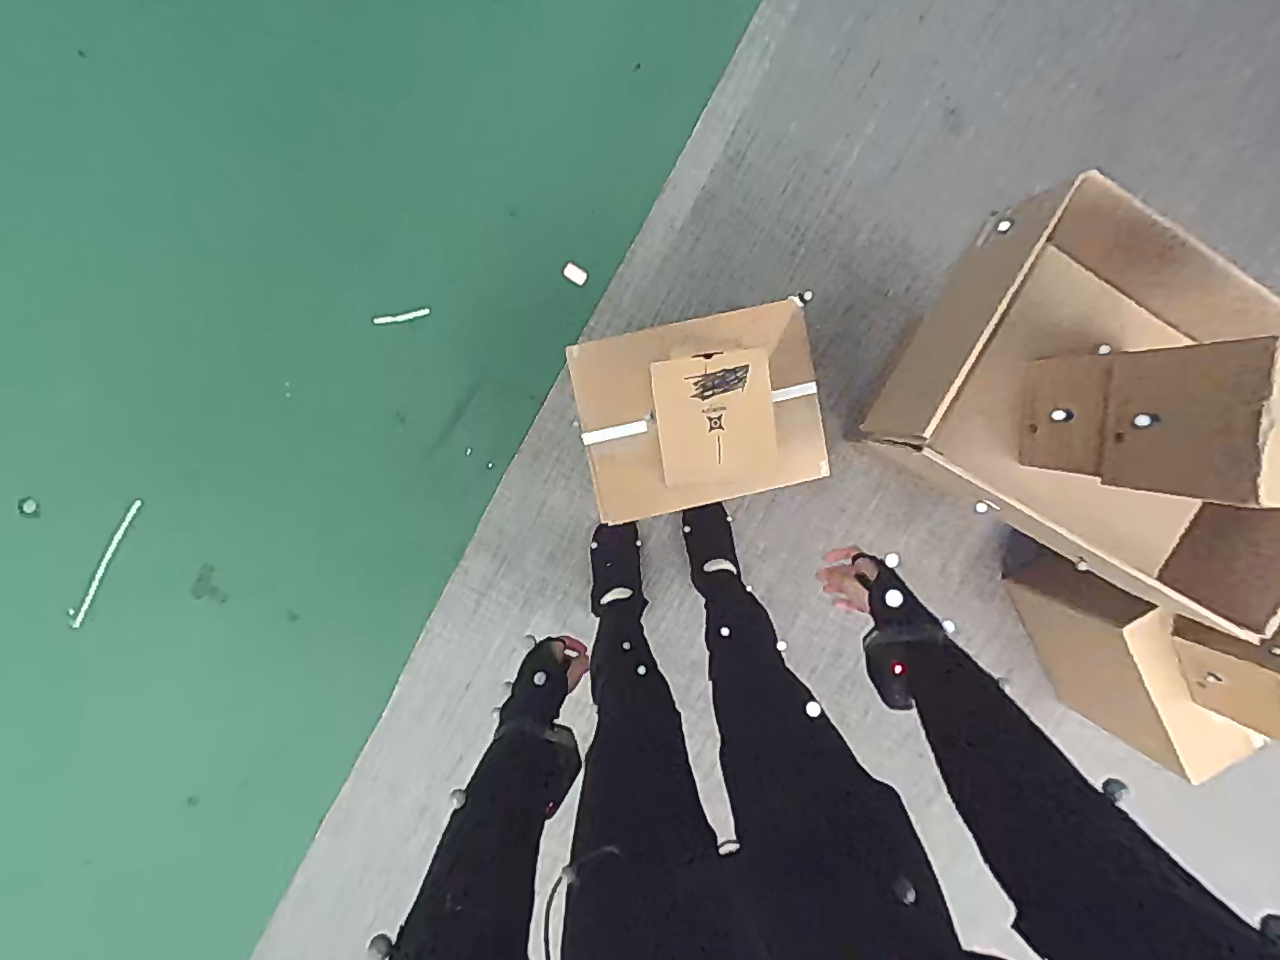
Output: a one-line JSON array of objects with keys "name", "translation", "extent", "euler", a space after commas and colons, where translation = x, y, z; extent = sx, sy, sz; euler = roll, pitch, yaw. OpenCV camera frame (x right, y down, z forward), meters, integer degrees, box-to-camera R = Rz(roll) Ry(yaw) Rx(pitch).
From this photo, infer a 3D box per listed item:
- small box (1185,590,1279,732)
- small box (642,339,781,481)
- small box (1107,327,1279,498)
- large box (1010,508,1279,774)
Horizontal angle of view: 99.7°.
[{"name": "small box", "translation": [1.138, 0.320, 0.951], "extent": [0.179, 0.176, 0.168], "euler": [-27, 99, -1]}, {"name": "small box", "translation": [0.098, -0.104, 0.814], "extent": [0.168, 0.176, 0.179], "euler": [-9, 99, -3]}, {"name": "small box", "translation": [0.673, -0.075, 0.588], "extent": [0.179, 0.176, 0.168], "euler": [-1, 97, -3]}, {"name": "large box", "translation": [1.135, 0.327, 1.199], "extent": [0.320, 0.320, 0.408], "euler": [-31, 100, 1]}]
